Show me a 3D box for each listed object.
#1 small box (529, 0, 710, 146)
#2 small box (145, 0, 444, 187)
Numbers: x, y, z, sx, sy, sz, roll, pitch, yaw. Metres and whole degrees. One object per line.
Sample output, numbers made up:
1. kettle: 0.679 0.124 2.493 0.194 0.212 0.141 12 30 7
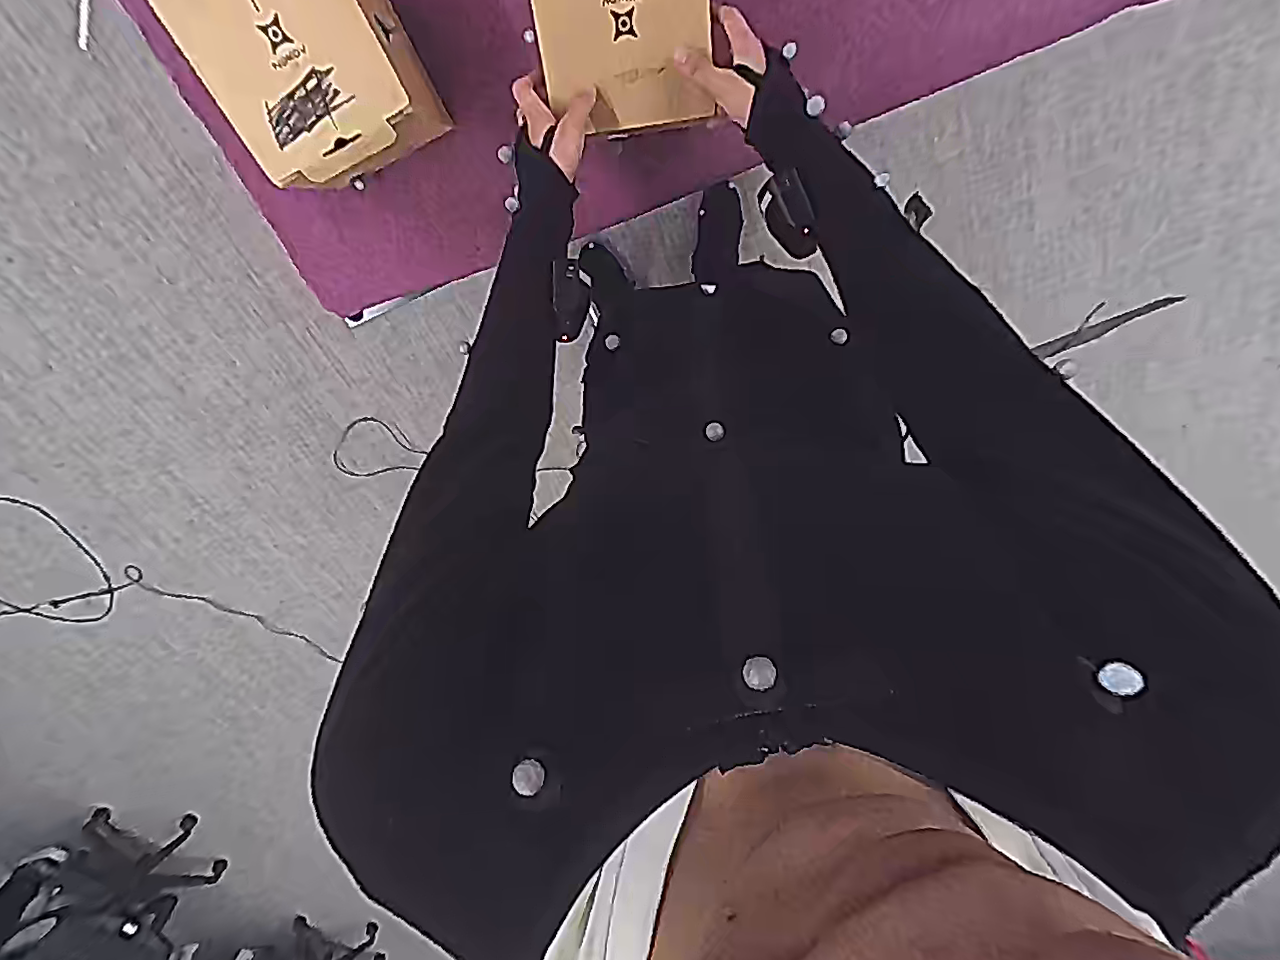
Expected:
1. small box: -0.026 -0.468 0.570 0.168 0.176 0.179 -8 120 0
2. small box: -0.333 -0.431 0.561 0.168 0.176 0.179 -24 116 7
